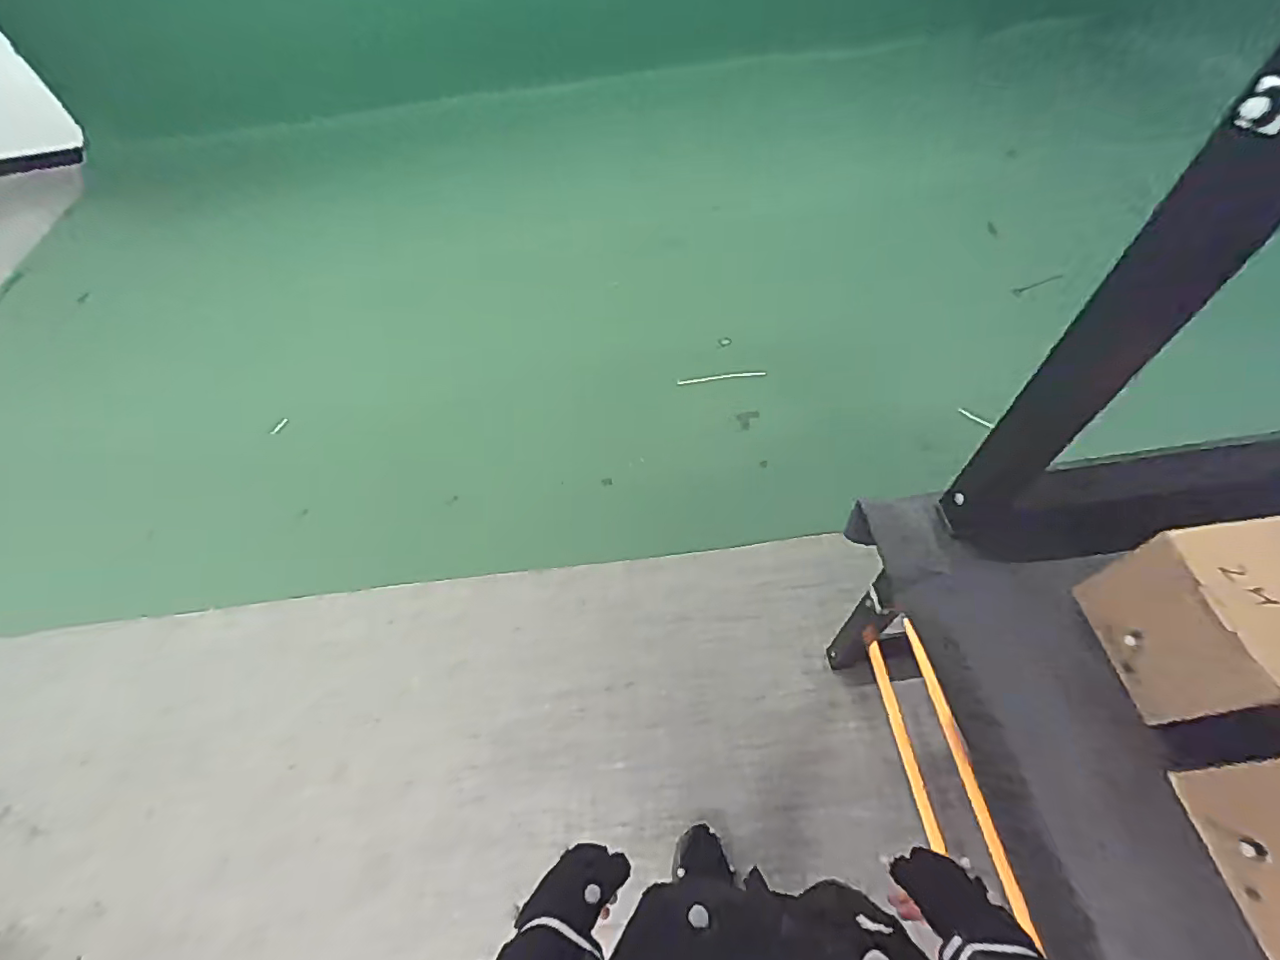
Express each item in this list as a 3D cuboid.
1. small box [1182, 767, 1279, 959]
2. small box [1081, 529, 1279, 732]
[{"bbox_3d":[0.657,0.338,0.468,0.179,0.176,0.168,-8,57,2],"label":"small box"},{"bbox_3d":[0.643,0.164,0.580,0.179,0.176,0.168,-7,57,1],"label":"small box"}]
